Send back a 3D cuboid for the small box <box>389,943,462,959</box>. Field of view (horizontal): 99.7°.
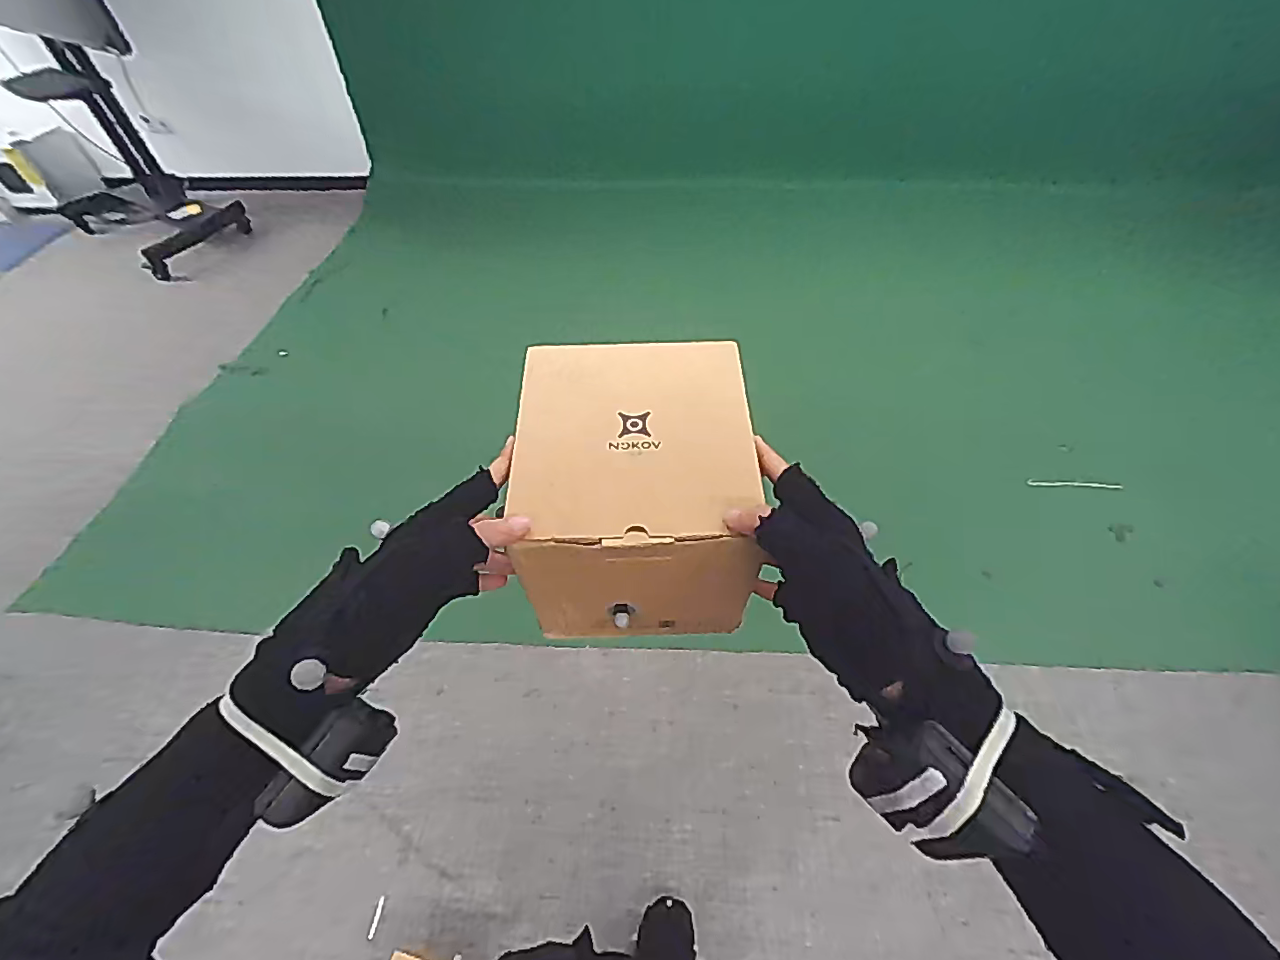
[{"bbox_3d":[-0.394,0.982,0.983,0.168,0.176,0.179,13,50,11],"label":"small box"}]
